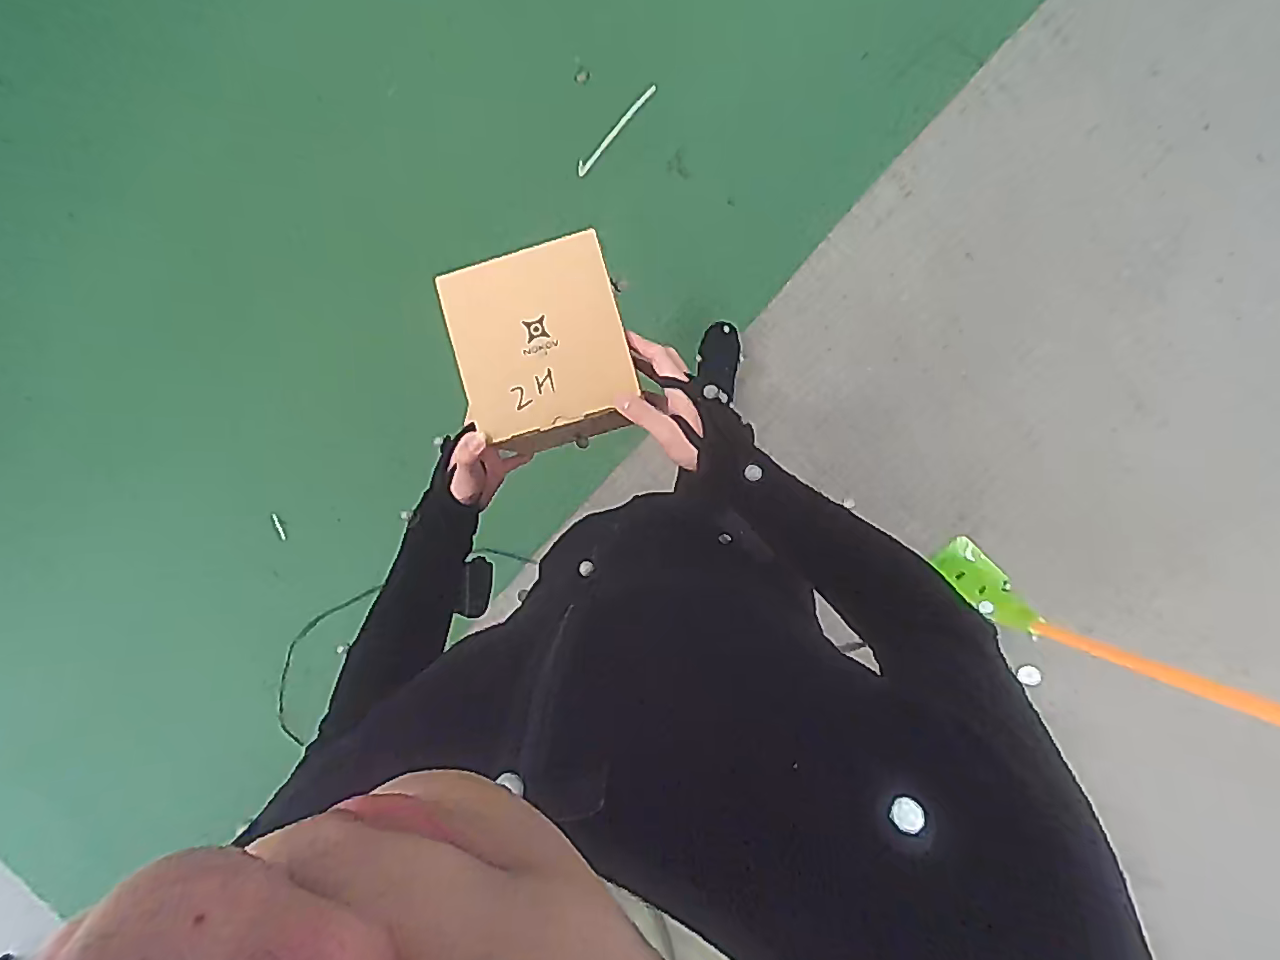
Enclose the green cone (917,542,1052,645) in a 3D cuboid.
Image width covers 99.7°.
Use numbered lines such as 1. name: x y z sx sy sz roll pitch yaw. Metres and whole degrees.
1. green cone: 0.886 0.313 1.333 0.200 0.368 0.202 44 99 2
